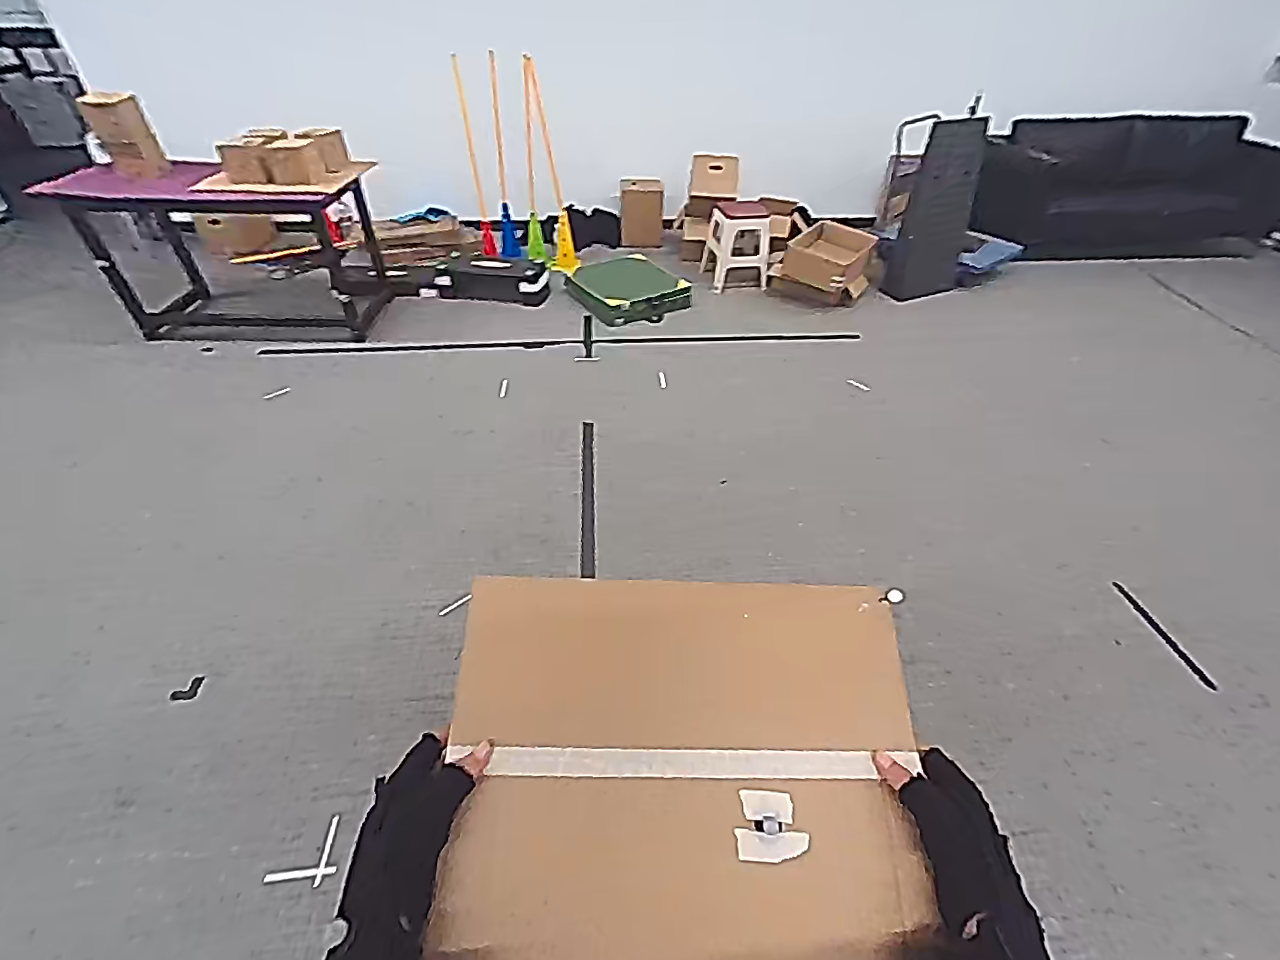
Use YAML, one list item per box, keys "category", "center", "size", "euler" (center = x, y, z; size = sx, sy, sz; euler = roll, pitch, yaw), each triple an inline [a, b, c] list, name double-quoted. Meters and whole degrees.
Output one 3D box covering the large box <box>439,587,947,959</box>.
- category: "large box"
  center: [0.036, 0.315, 0.610]
  size: [0.408, 0.320, 0.320]
  euler: [2, 65, -2]
